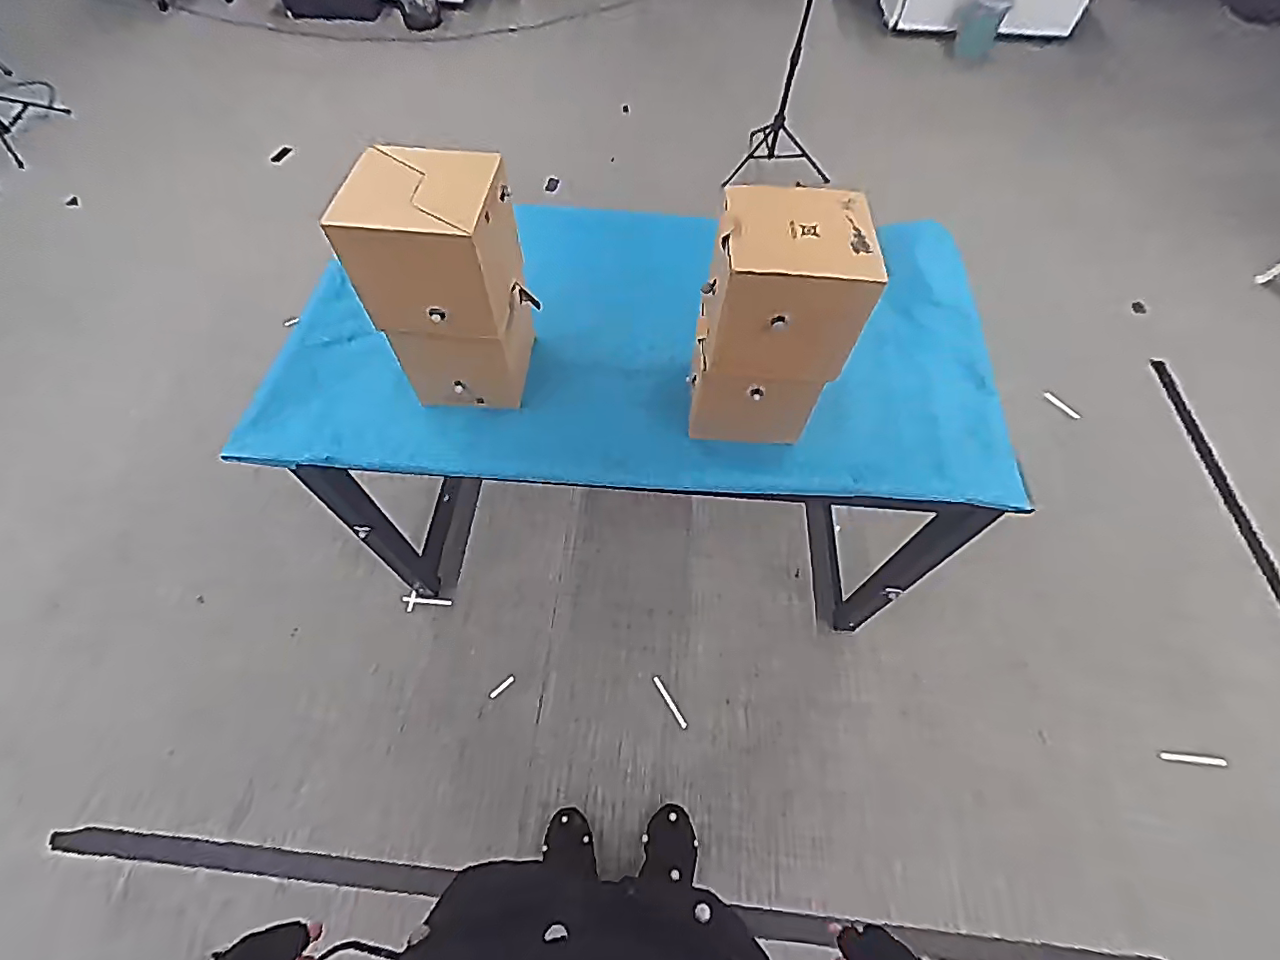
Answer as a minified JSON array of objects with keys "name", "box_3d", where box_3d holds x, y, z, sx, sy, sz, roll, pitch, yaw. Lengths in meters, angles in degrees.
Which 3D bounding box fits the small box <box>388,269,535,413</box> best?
[{"name":"small box","box_3d":[-0.272,-0.232,0.868,0.168,0.176,0.179,6,62,4]}]

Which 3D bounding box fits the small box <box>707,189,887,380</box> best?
[{"name":"small box","box_3d":[0.182,-0.244,0.693,0.179,0.176,0.168,1,59,-1]}]

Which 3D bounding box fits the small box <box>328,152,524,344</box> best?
[{"name":"small box","box_3d":[-0.268,-0.305,0.717,0.179,0.176,0.168,5,60,1]}]

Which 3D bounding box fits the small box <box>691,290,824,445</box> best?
[{"name":"small box","box_3d":[0.172,-0.169,0.837,0.179,0.176,0.168,4,60,2]}]
